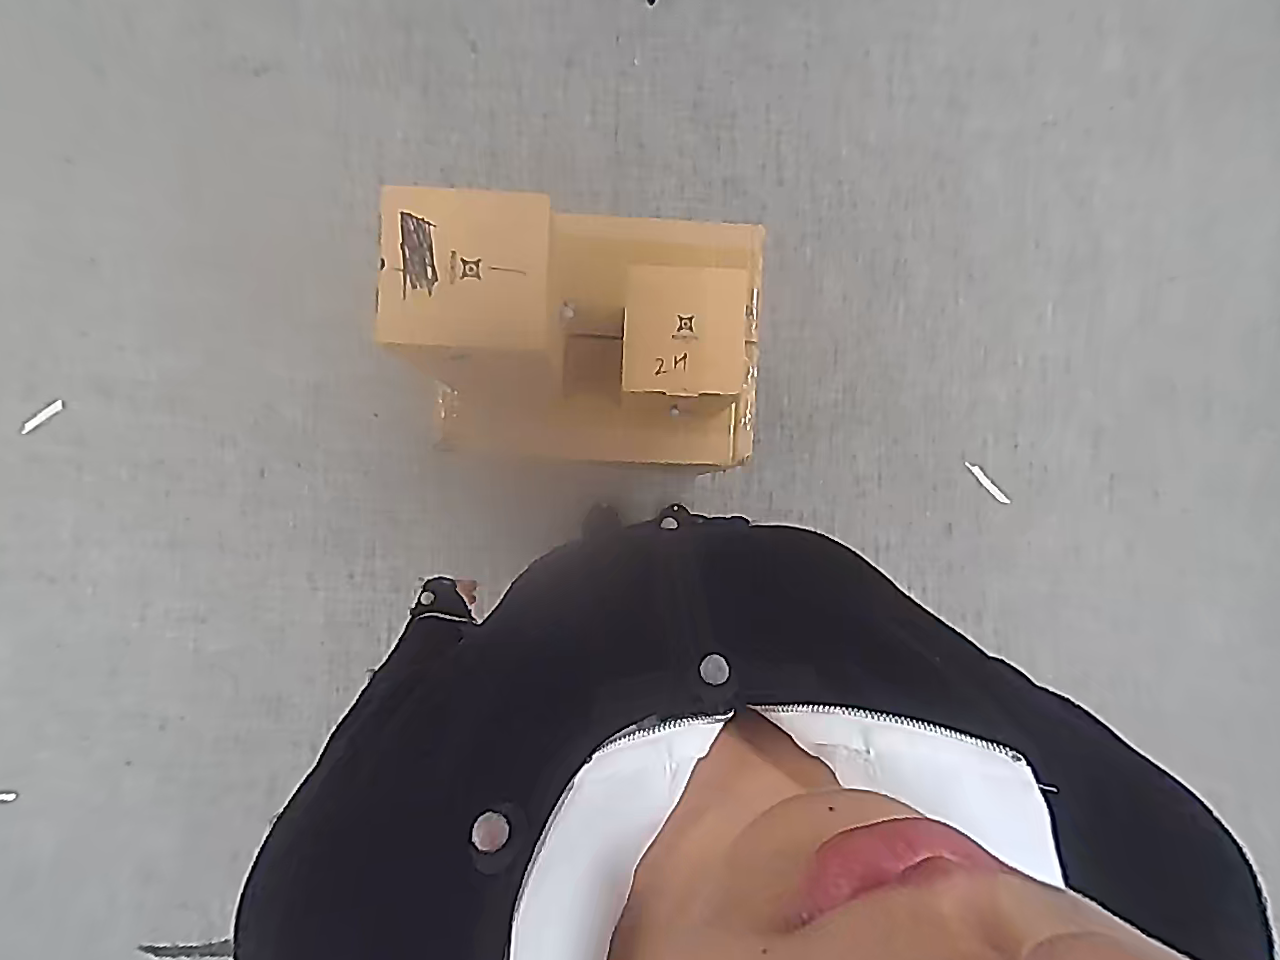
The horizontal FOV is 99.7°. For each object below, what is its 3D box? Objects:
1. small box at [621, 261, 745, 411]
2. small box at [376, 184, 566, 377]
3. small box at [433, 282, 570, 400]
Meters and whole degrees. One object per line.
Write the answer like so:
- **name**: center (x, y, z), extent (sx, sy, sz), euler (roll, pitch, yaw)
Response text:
- **small box**: center (0.057, -0.206, 0.812), extent (0.168, 0.176, 0.179), euler (2, 90, 0)
- **small box**: center (-0.187, -0.222, 0.642), extent (0.179, 0.176, 0.168), euler (2, 89, -3)
- **small box**: center (-0.196, -0.222, 0.806), extent (0.168, 0.176, 0.179), euler (2, 90, -2)
